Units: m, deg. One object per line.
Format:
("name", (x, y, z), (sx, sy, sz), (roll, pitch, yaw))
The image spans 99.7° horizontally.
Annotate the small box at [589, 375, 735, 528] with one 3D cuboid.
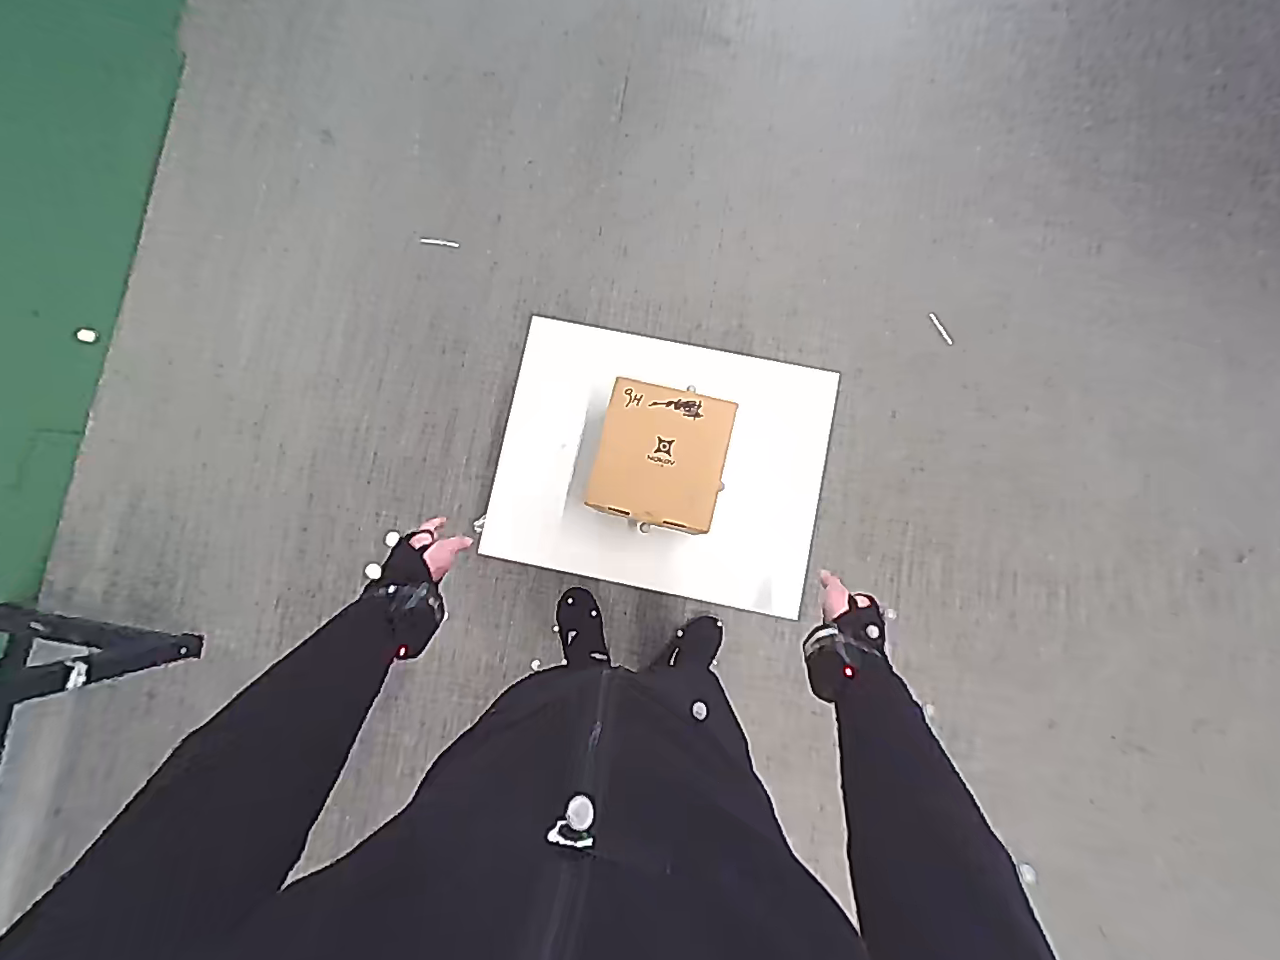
("small box", (0.033, -0.030, 0.784), (0.168, 0.176, 0.179), (12, 83, 3))
